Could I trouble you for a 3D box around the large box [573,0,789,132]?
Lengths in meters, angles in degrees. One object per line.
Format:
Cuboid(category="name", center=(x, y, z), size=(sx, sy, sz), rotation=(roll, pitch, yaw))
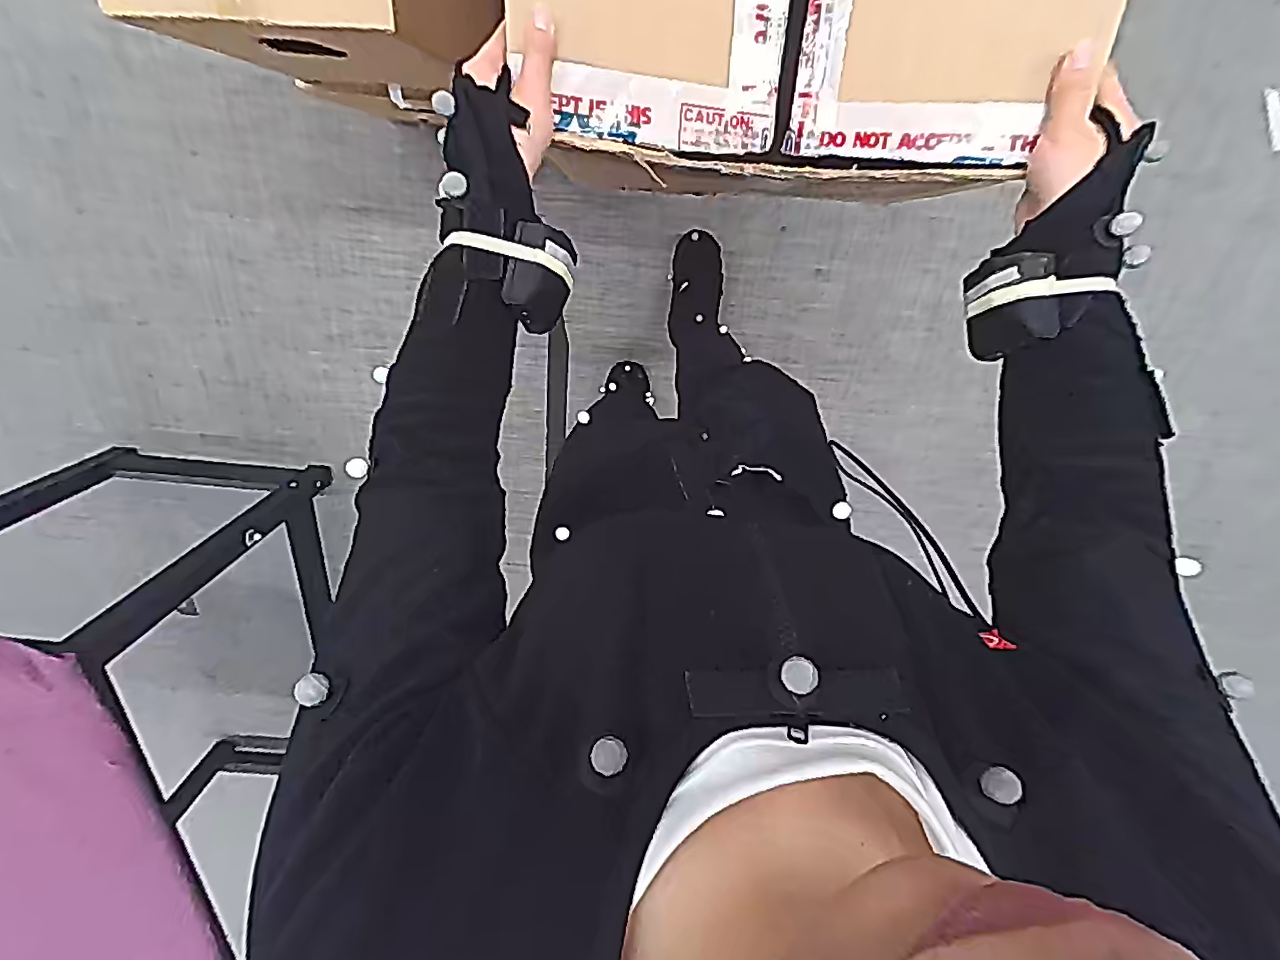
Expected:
Cuboid(category="large box", center=(0.065, -0.823, 0.871), size=(0.320, 0.320, 0.408), rotation=(4, 117, 0))
